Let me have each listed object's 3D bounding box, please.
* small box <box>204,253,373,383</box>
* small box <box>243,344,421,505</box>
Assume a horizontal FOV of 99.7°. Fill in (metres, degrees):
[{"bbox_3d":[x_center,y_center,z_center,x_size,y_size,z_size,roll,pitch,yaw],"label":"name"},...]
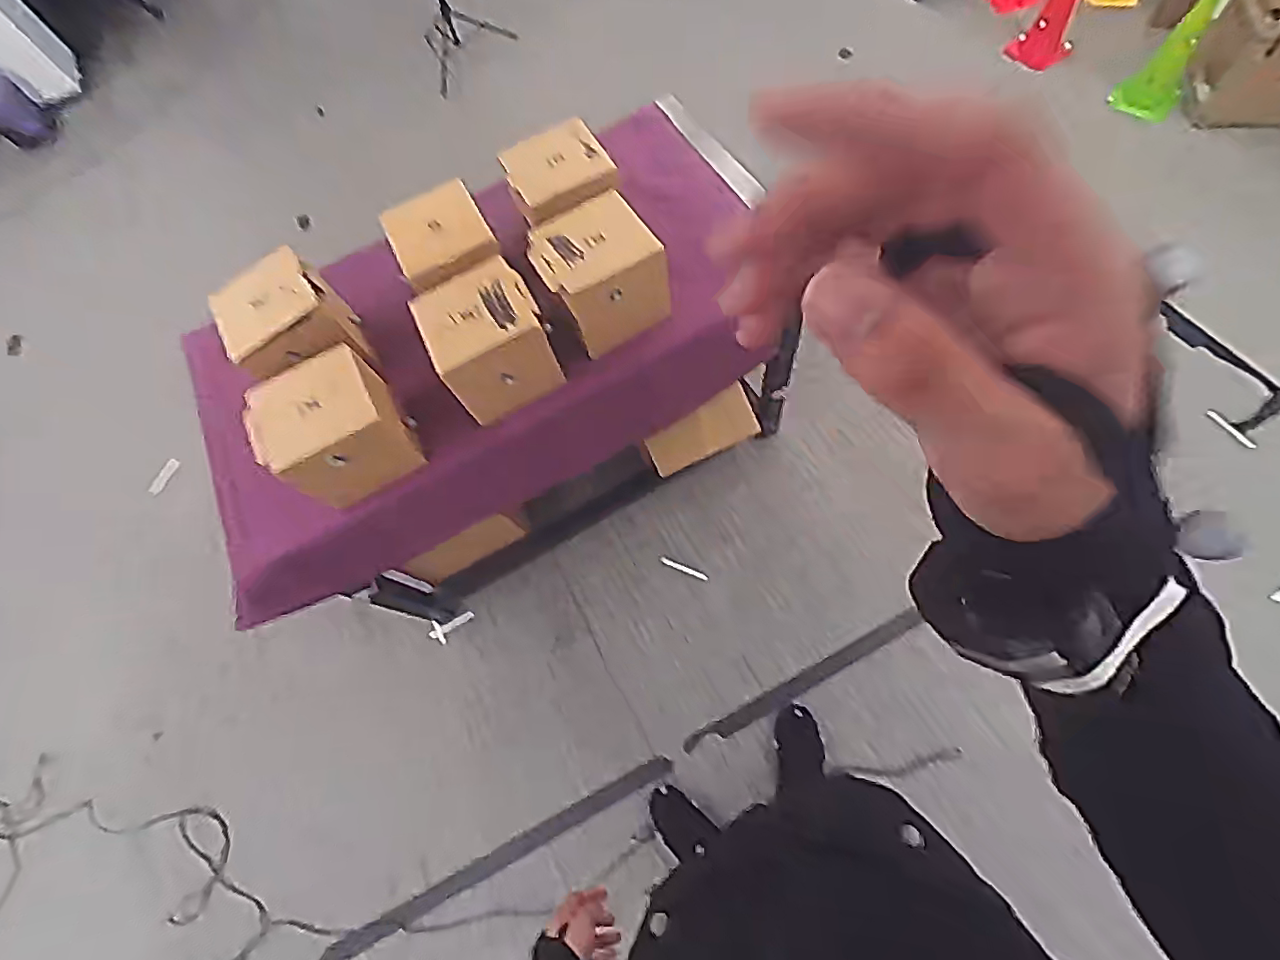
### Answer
[{"bbox_3d":[-0.631,-0.265,0.986,0.179,0.176,0.168,-32,68,-6],"label":"small box"},{"bbox_3d":[-0.501,-0.082,0.897,0.179,0.176,0.168,-30,68,-6],"label":"small box"}]
